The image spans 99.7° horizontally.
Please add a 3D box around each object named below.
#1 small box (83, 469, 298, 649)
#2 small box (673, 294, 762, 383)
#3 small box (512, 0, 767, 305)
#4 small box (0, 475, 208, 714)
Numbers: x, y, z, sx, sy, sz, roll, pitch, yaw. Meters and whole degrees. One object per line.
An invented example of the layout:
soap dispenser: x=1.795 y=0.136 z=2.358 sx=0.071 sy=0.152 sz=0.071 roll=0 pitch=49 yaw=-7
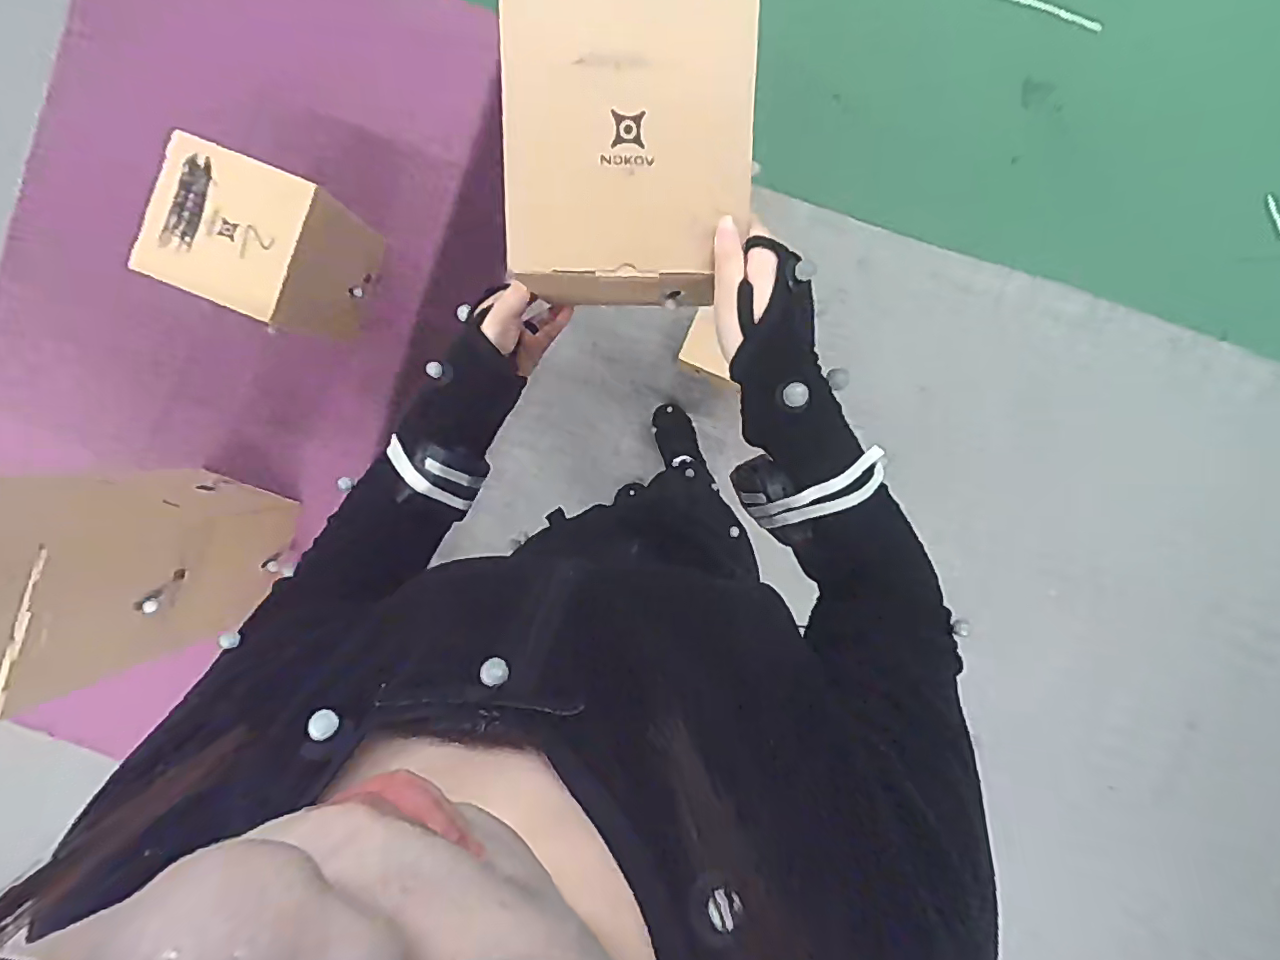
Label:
small box: x=-0.595 y=0.090 z=0.714 sx=0.168 sy=0.176 sz=0.179 roll=18 pitch=93 yaw=1
small box: x=0.193 y=-0.364 z=1.397 sx=0.168 sy=0.176 sz=0.179 roll=23 pitch=93 yaw=0
small box: x=-0.004 y=-0.241 z=0.438 sx=0.168 sy=0.176 sz=0.179 roll=2 pitch=101 yaw=-1
small box: x=-0.605 y=0.098 z=0.549 sx=0.179 sy=0.176 sz=0.168 roll=20 pitch=94 yaw=0
